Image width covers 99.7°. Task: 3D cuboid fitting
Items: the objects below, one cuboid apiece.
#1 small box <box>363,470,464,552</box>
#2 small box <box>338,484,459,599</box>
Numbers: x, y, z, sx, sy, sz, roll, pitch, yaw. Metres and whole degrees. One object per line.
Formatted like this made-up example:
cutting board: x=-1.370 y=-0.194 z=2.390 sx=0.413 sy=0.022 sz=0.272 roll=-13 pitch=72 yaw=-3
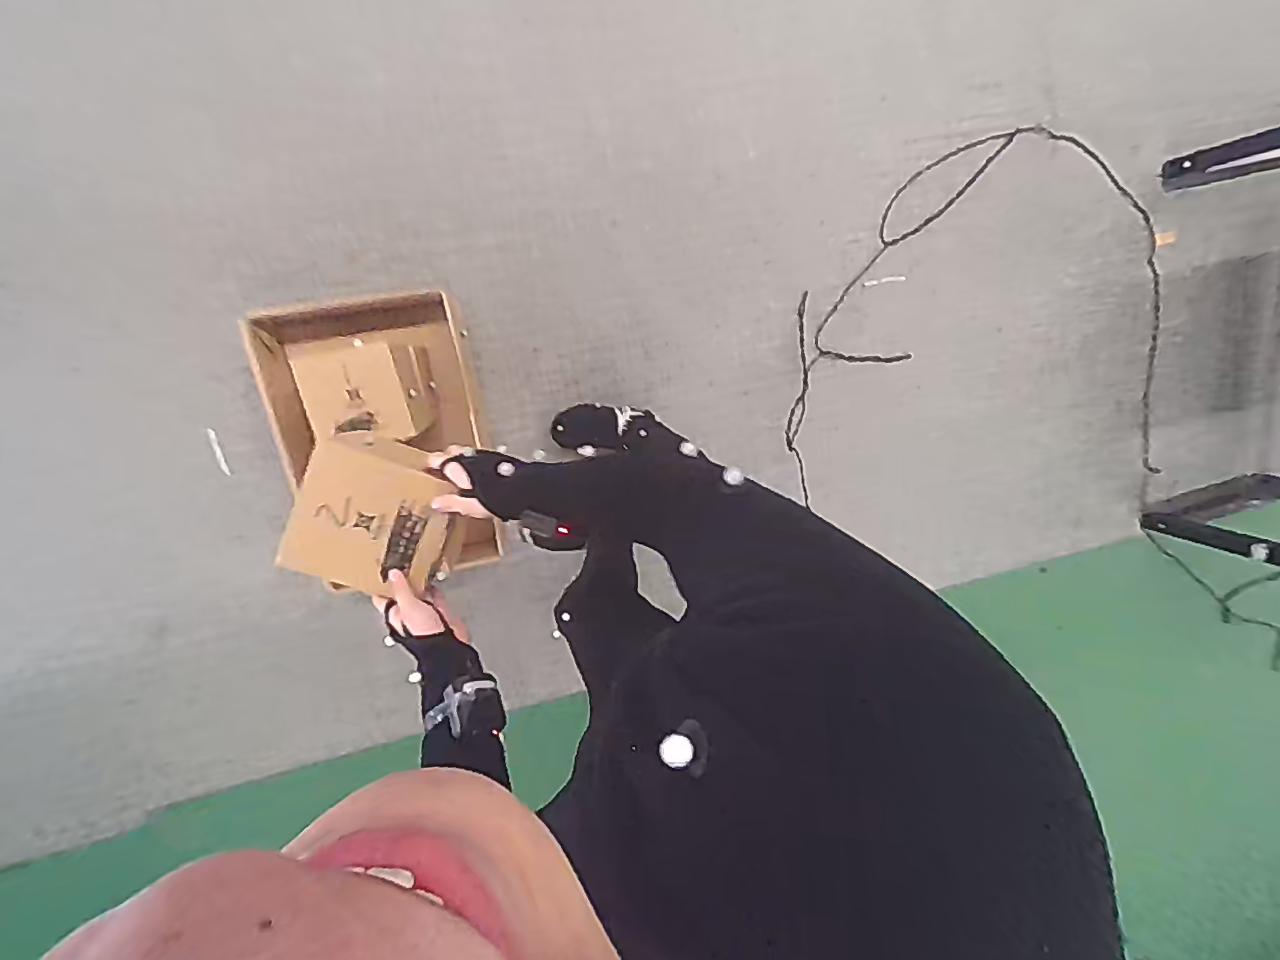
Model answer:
small box: x=-0.512 y=0.081 z=1.250 sx=0.179 sy=0.176 sz=0.168 roll=-11 pitch=104 yaw=-8
small box: x=-0.477 y=0.113 z=1.093 sx=0.168 sy=0.176 sz=0.179 roll=-12 pitch=103 yaw=-8
